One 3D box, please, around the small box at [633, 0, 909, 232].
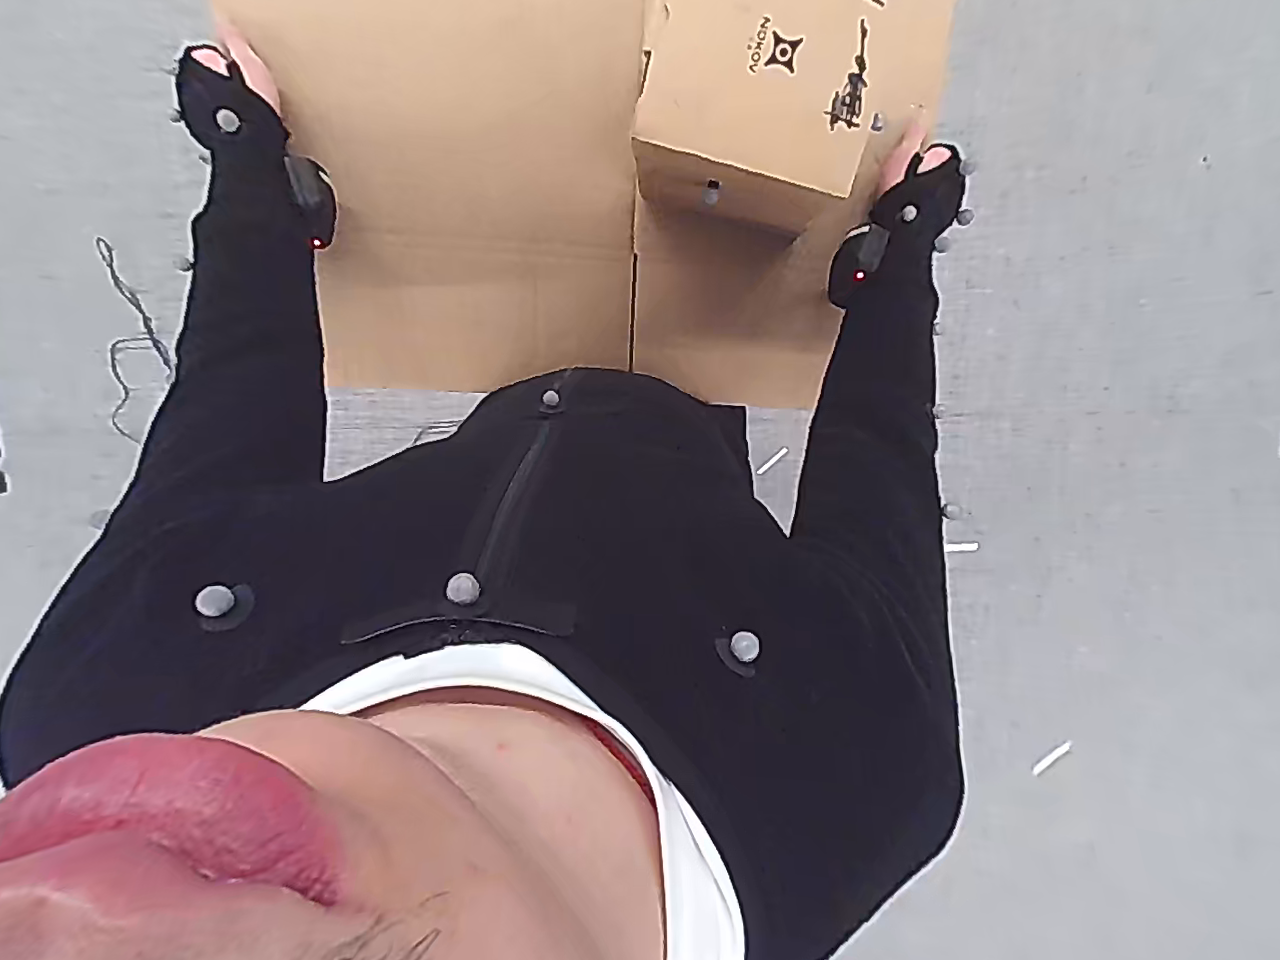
[{"bbox_3d":[0.103,-0.338,0.481,0.179,0.176,0.168,15,104,0],"label":"small box"}]
